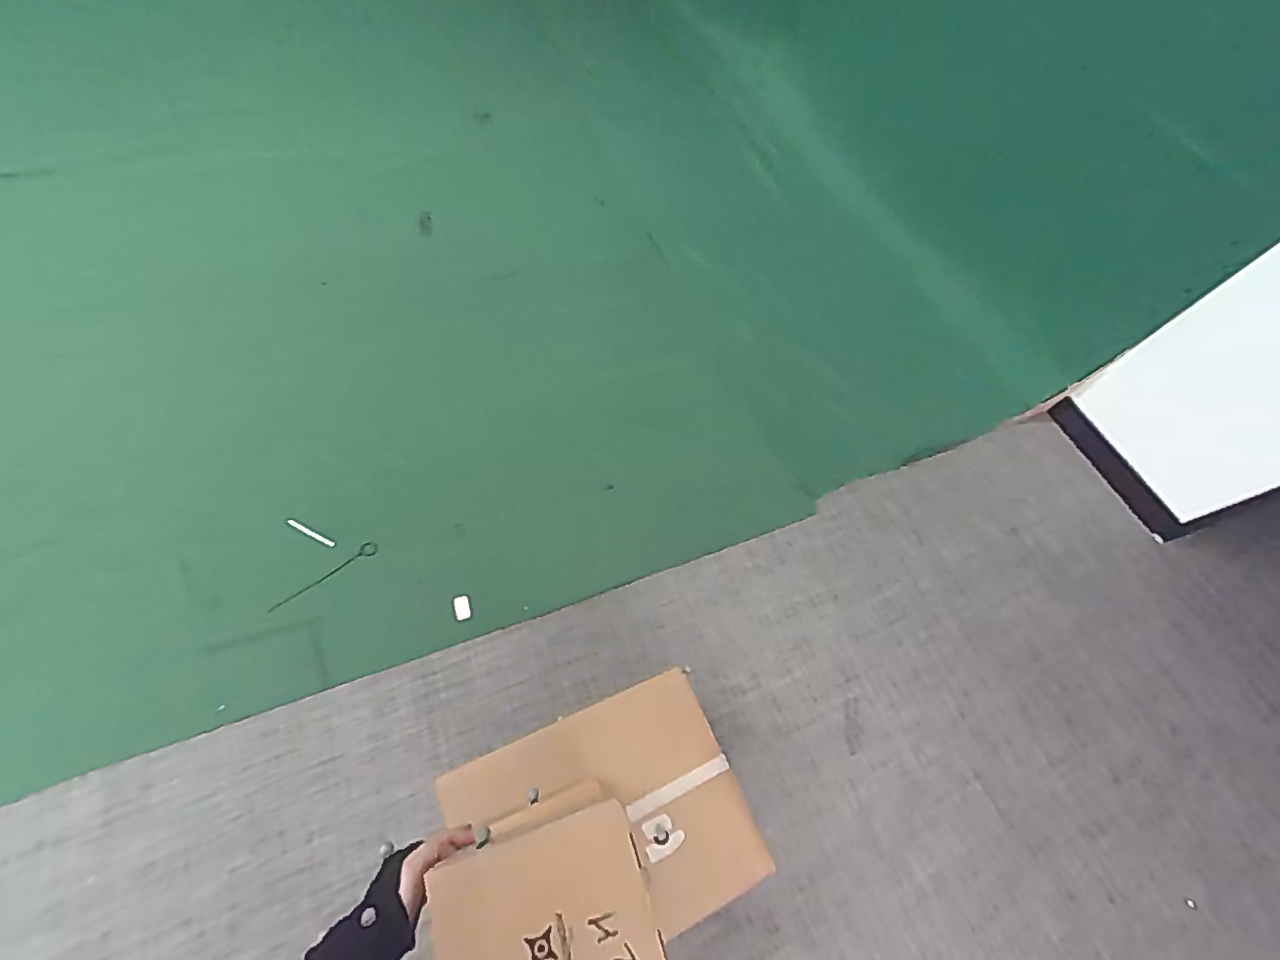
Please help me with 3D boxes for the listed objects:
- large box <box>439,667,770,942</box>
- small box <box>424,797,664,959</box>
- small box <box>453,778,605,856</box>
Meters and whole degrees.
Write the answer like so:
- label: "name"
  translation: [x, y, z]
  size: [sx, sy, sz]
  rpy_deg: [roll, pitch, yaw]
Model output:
- label: "large box"
  translation: [-0.073, 0.565, 0.899]
  size: [0.408, 0.320, 0.320]
  rpy_deg: [-18, 66, -19]
- label: "small box"
  translation: [-0.085, 0.417, 0.506]
  size: [0.179, 0.176, 0.168]
  rpy_deg: [-13, 64, -17]
- label: "small box"
  translation: [-0.110, 0.485, 0.655]
  size: [0.179, 0.176, 0.168]
  rpy_deg: [-15, 65, -18]
